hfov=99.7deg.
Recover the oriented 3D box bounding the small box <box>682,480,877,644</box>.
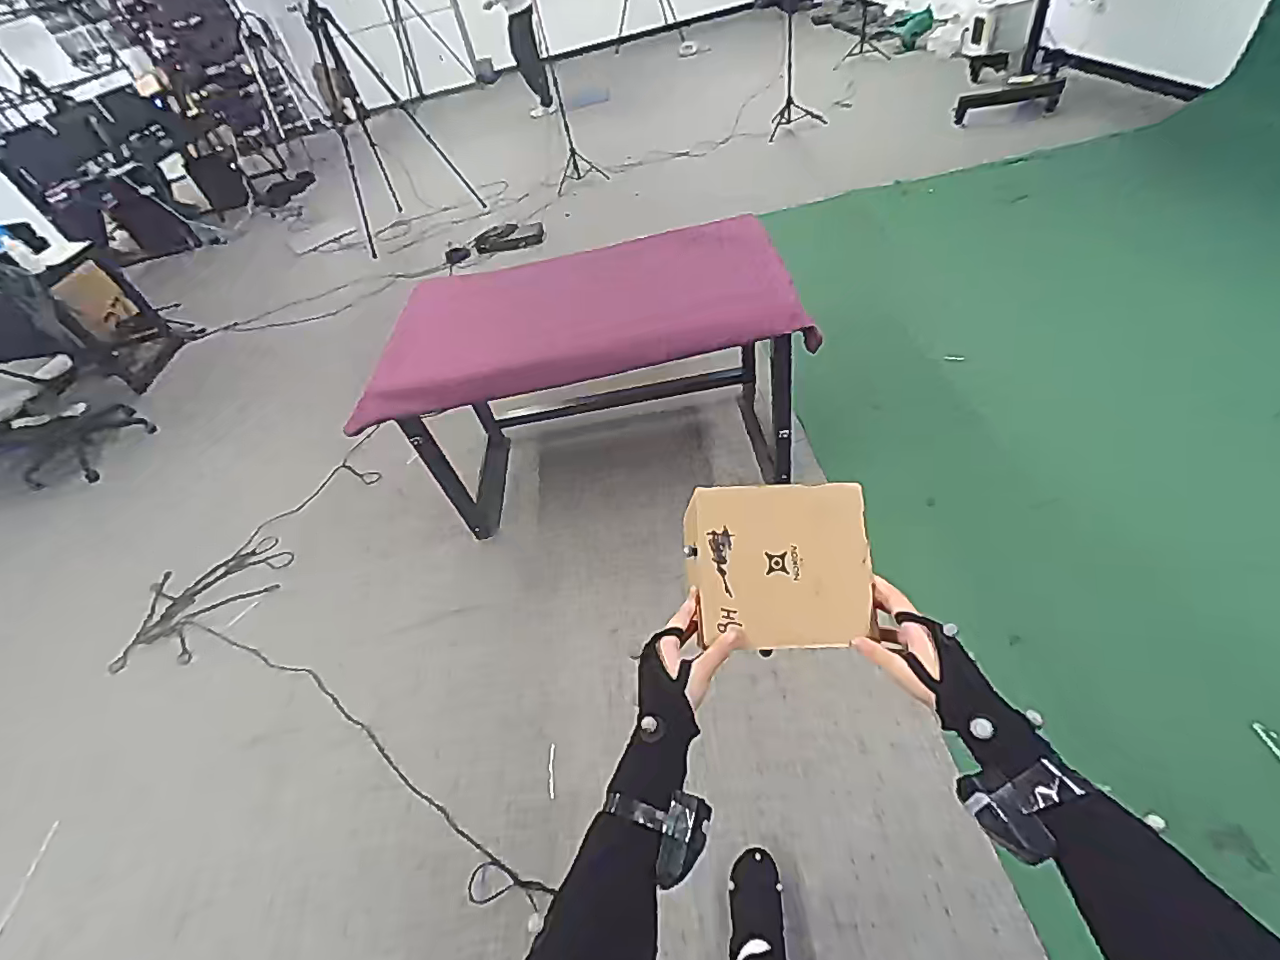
[{"bbox_3d":[0.144,0.098,0.622,0.179,0.176,0.168,-1,76,0],"label":"small box"}]
